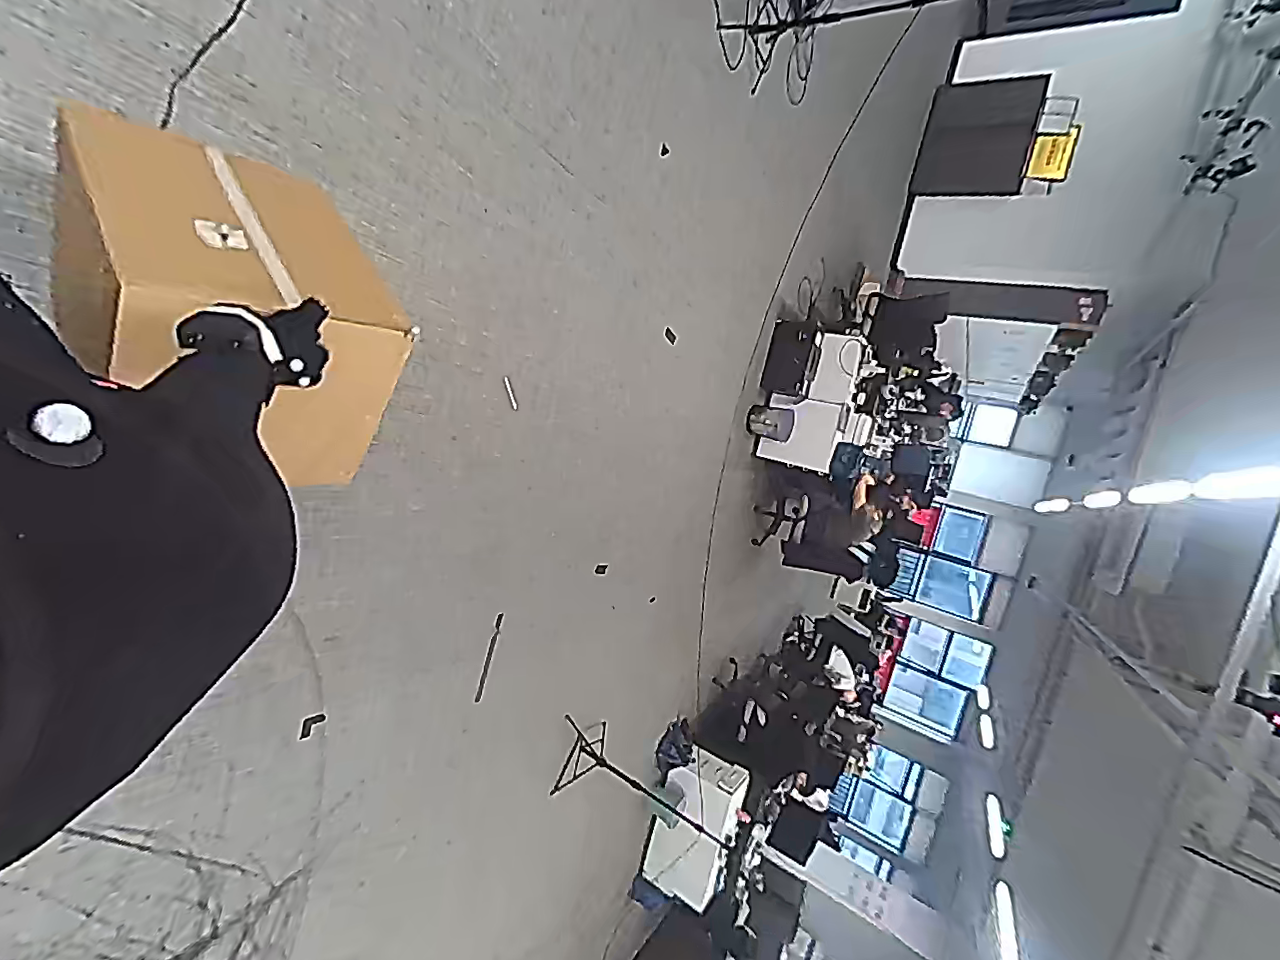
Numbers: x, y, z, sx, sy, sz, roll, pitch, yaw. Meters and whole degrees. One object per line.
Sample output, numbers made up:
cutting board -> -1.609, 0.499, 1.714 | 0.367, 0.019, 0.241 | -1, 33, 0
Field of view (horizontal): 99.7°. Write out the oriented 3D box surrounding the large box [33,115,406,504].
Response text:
large box -> -0.624, -0.221, 0.795 | 0.320, 0.408, 0.320 | -6, 142, -53
